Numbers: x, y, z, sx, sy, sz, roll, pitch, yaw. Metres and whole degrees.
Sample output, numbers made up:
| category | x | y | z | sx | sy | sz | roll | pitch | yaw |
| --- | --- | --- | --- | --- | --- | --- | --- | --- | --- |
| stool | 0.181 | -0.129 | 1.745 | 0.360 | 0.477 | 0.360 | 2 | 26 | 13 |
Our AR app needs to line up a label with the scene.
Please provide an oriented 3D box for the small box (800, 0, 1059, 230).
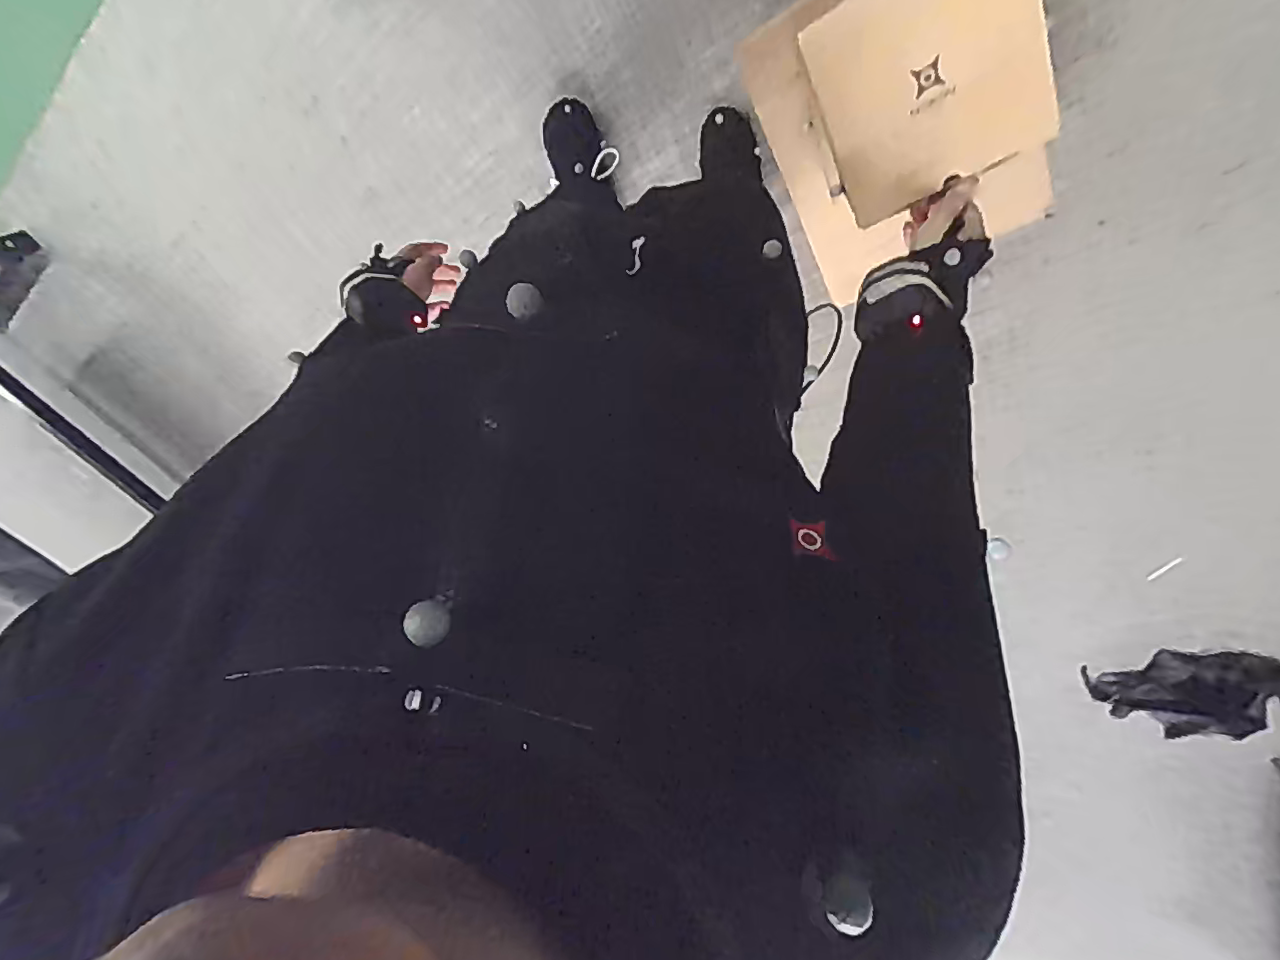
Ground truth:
| category | x | y | z | sx | sy | sz | roll | pitch | yaw |
| --- | --- | --- | --- | --- | --- | --- | --- | --- | --- |
| small box | 0.259 | -0.375 | 0.514 | 0.168 | 0.176 | 0.179 | -19 | 121 | 27 |

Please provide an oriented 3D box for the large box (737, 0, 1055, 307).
| category | x | y | z | sx | sy | sz | roll | pitch | yaw |
| --- | --- | --- | --- | --- | --- | --- | --- | --- | --- |
| large box | 0.387 | -0.568 | 0.858 | 0.320 | 0.320 | 0.408 | -19 | 121 | 29 |
